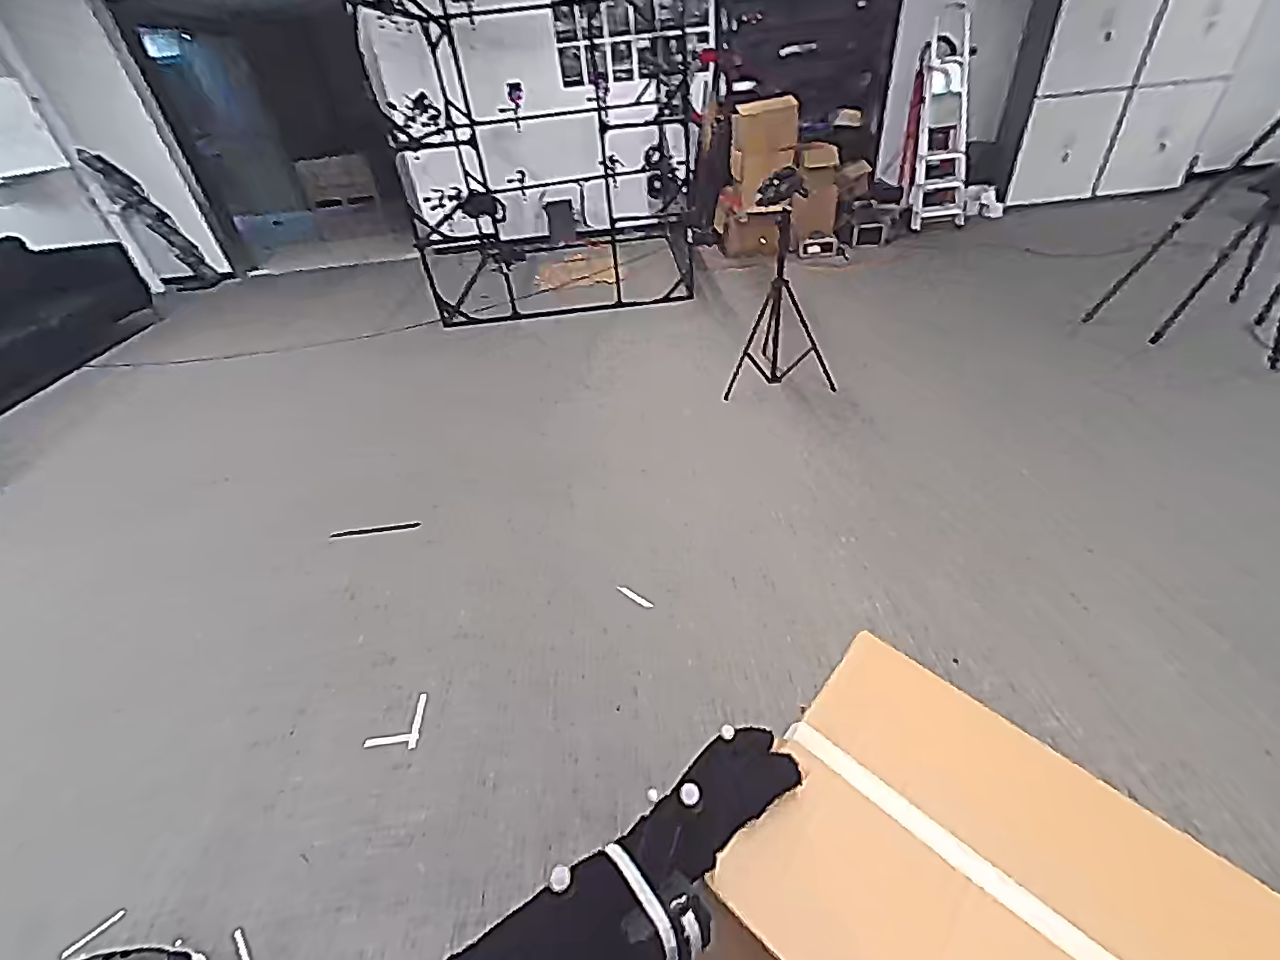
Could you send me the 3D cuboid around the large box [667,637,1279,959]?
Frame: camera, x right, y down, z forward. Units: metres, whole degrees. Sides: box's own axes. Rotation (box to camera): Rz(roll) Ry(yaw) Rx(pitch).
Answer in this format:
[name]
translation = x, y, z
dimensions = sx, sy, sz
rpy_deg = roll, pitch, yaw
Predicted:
[large box]
translation = 0.285, 0.450, 0.542
dimensions = 0.408, 0.320, 0.320
rpy_deg = 31, 48, 27
